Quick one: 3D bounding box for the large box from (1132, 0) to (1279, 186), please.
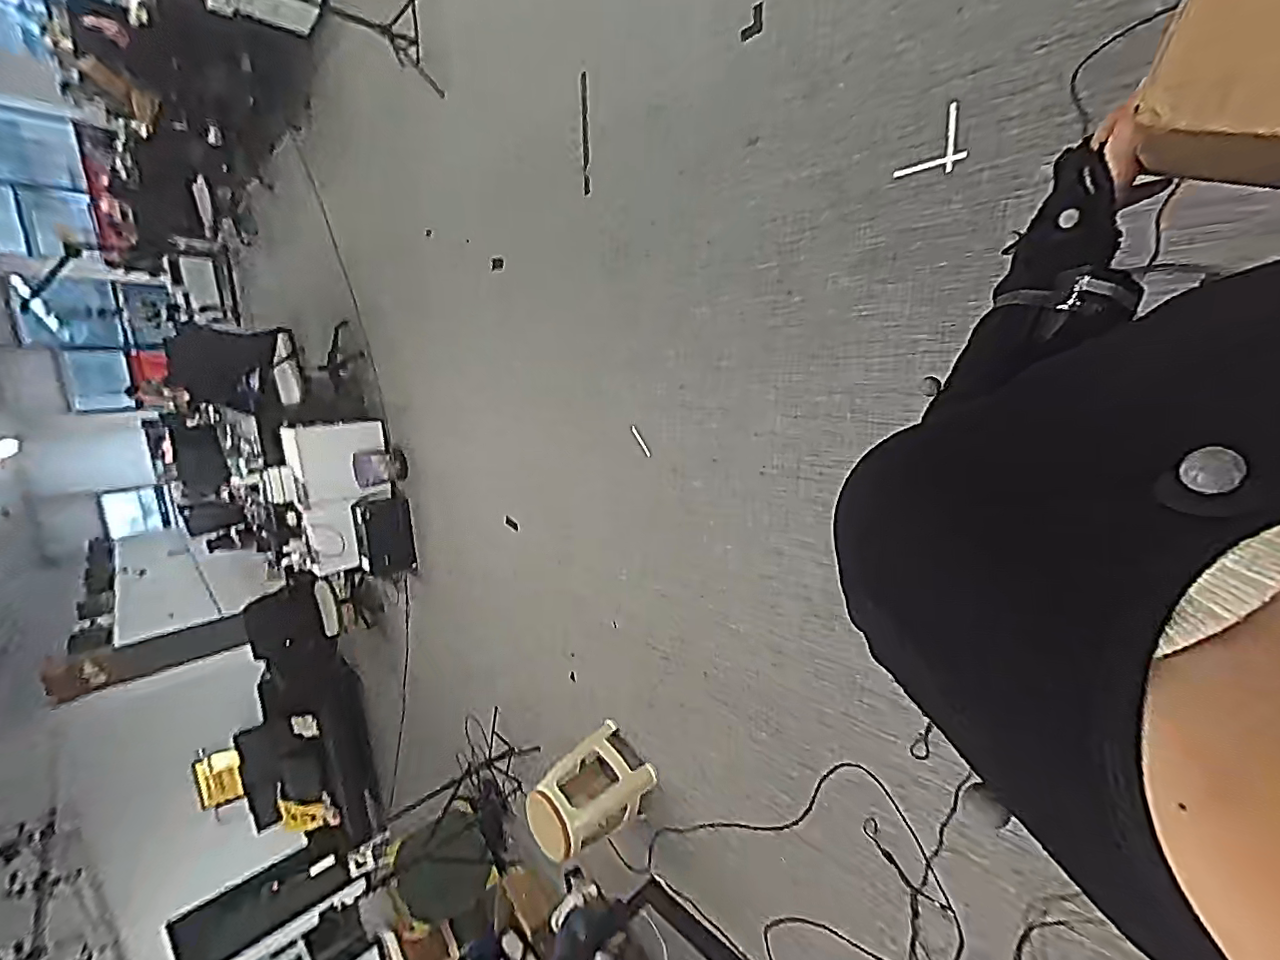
[{"bbox_3d":[0.476,-0.264,0.168,0.408,0.320,0.320,27,126,31],"label":"large box"}]
